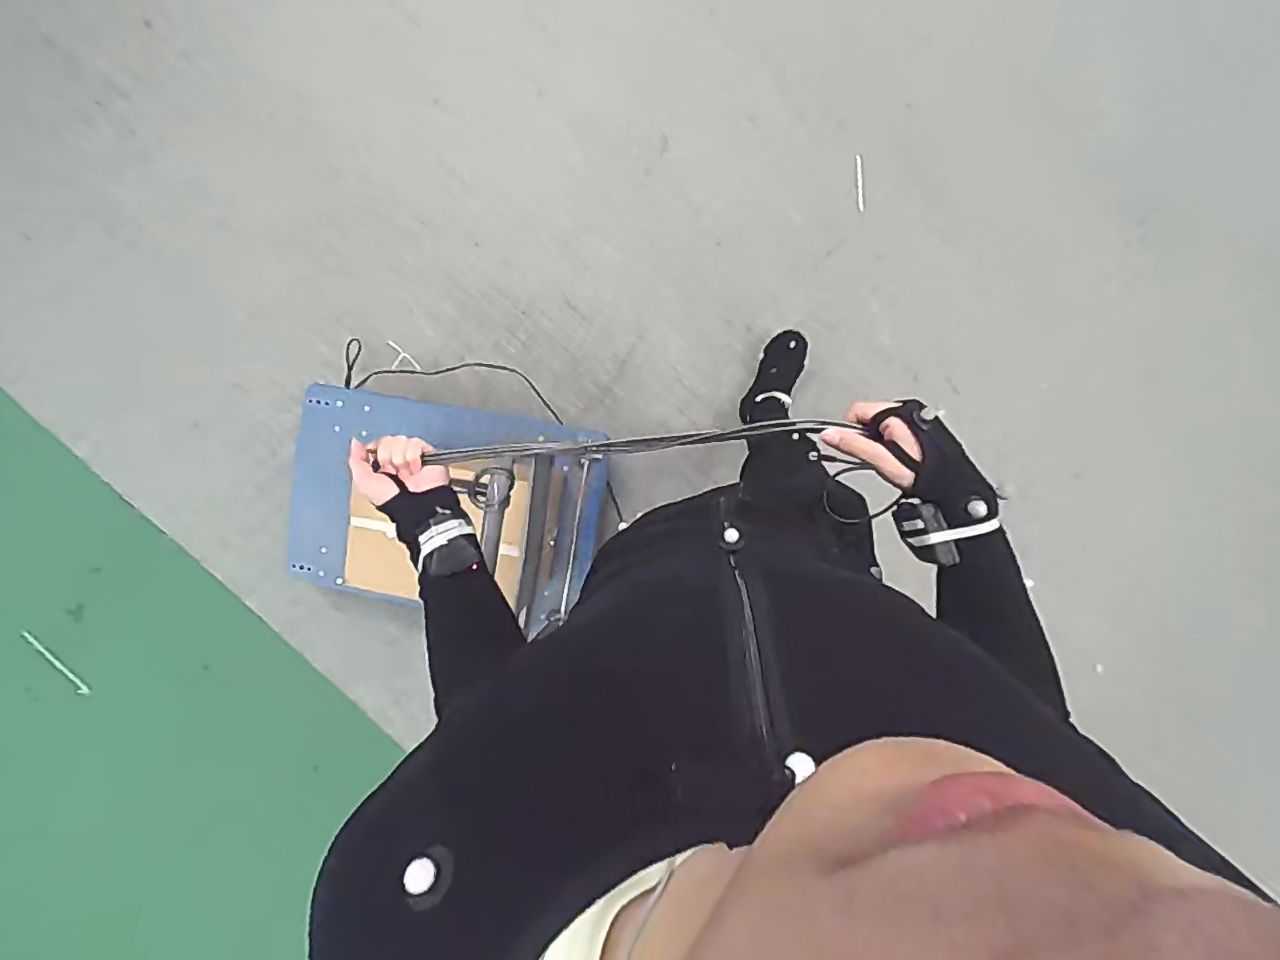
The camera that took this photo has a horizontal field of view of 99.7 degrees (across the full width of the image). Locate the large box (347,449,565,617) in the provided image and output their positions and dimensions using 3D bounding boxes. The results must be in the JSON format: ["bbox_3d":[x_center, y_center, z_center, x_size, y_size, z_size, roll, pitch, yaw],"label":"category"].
[{"bbox_3d":[-0.427,0.108,1.329,0.408,0.320,0.320,10,95,5],"label":"large box"}]
